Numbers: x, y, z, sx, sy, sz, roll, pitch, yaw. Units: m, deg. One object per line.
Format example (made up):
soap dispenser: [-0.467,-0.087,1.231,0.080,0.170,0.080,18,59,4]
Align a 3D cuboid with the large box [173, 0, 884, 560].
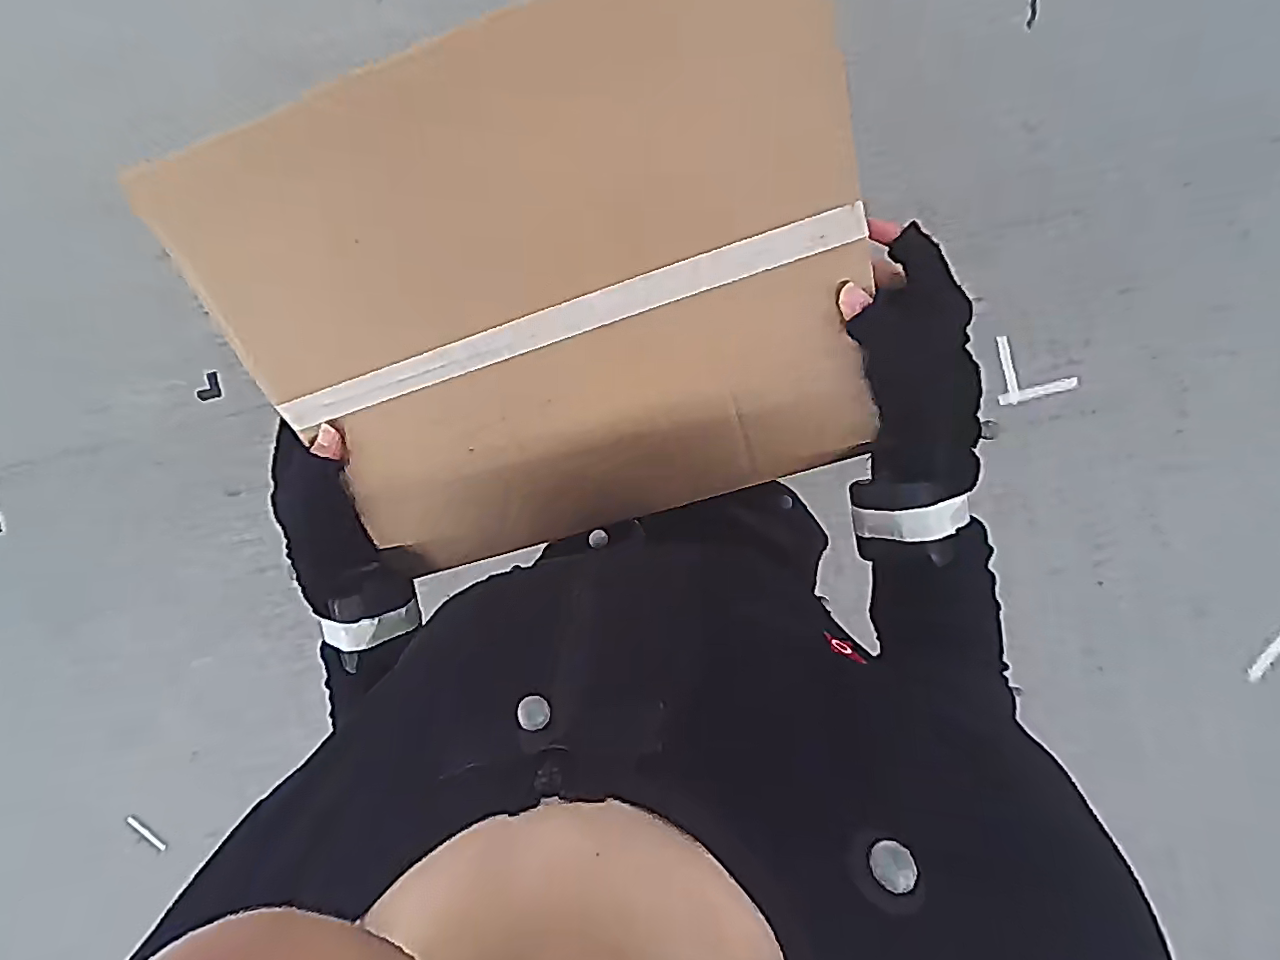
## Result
large box: [-0.054,-0.182,0.495,0.408,0.320,0.320,-16,118,9]
